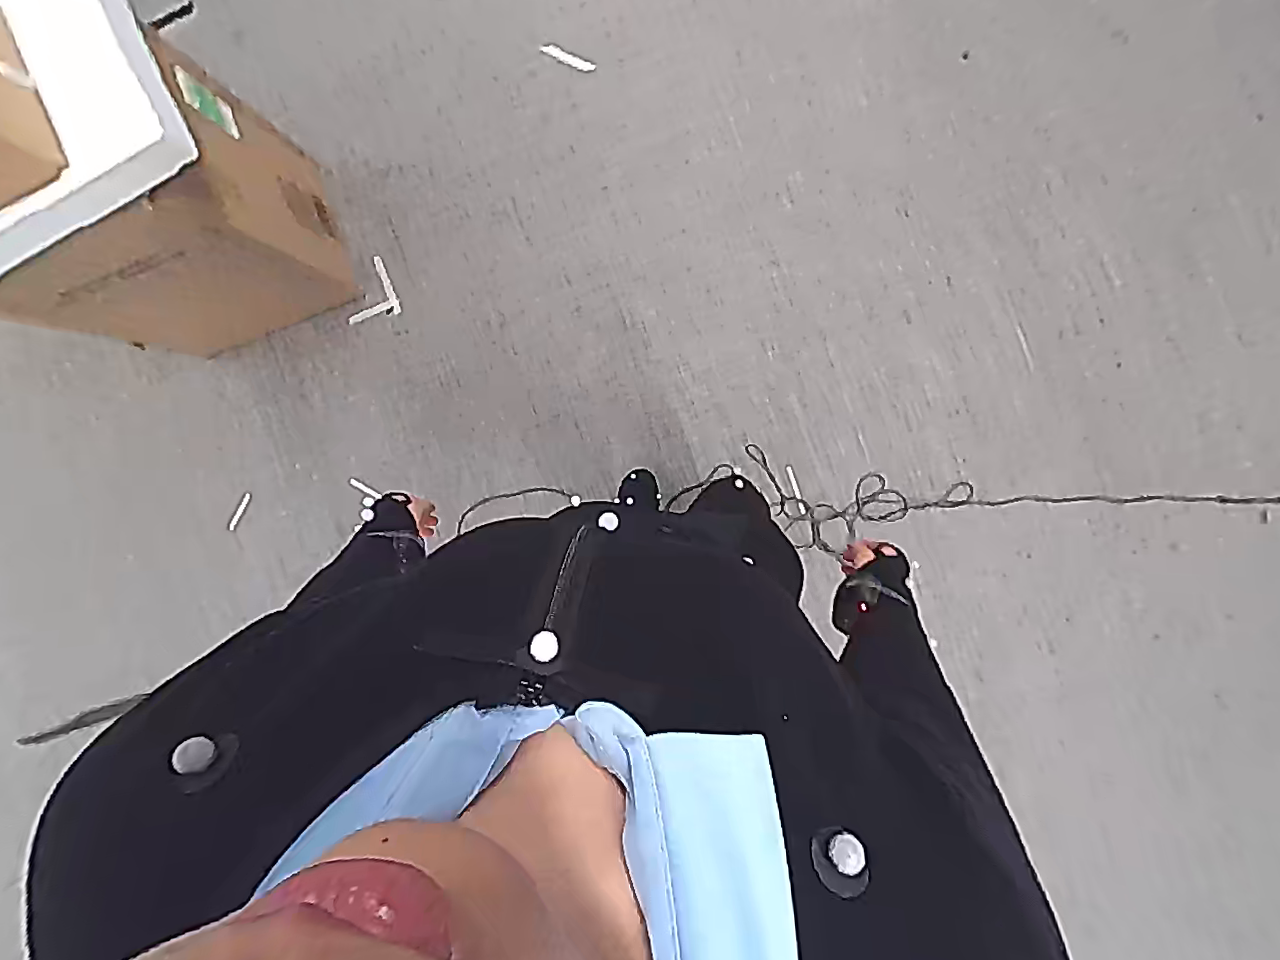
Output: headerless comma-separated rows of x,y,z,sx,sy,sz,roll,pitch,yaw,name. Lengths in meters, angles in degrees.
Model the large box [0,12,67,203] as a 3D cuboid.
-1.178,-0.565,0.753,0.408,0.320,0.320,-23,90,7,large box
